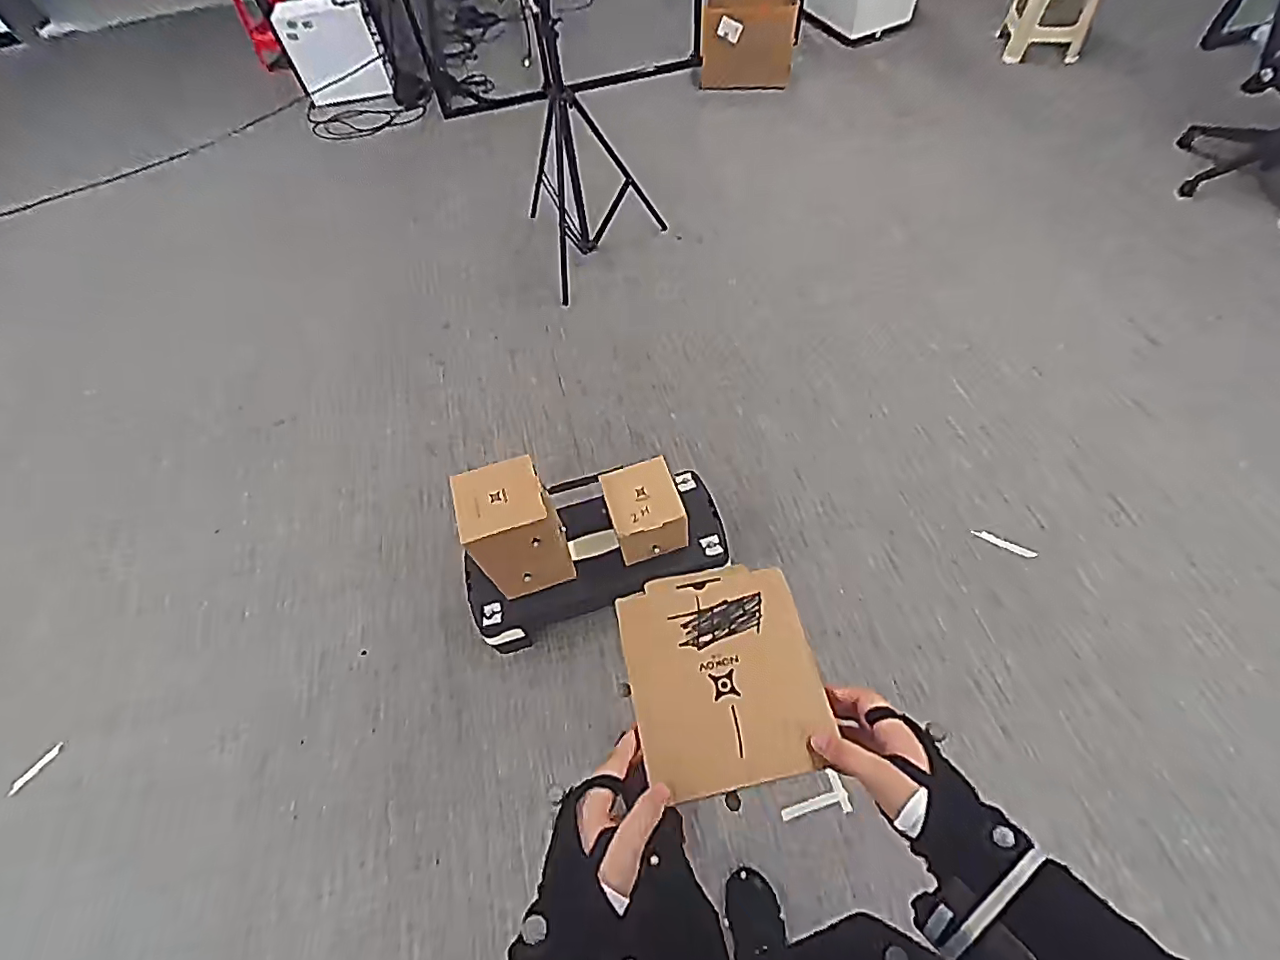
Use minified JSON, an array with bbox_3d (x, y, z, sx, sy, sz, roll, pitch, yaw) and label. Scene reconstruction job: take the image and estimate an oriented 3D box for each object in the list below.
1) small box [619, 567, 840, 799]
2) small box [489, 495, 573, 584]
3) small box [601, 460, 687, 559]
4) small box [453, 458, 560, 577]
[{"bbox_3d":[0.074,0.213,0.555,0.168,0.176,0.179,-11,59,-4],"label":"small box"},{"bbox_3d":[-0.266,0.167,1.301,0.179,0.176,0.168,-18,60,-6],"label":"small box"},{"bbox_3d":[0.011,0.083,1.327,0.168,0.176,0.179,-18,60,-4],"label":"small box"},{"bbox_3d":[-0.278,0.084,1.161,0.179,0.176,0.168,-18,59,-6],"label":"small box"}]
